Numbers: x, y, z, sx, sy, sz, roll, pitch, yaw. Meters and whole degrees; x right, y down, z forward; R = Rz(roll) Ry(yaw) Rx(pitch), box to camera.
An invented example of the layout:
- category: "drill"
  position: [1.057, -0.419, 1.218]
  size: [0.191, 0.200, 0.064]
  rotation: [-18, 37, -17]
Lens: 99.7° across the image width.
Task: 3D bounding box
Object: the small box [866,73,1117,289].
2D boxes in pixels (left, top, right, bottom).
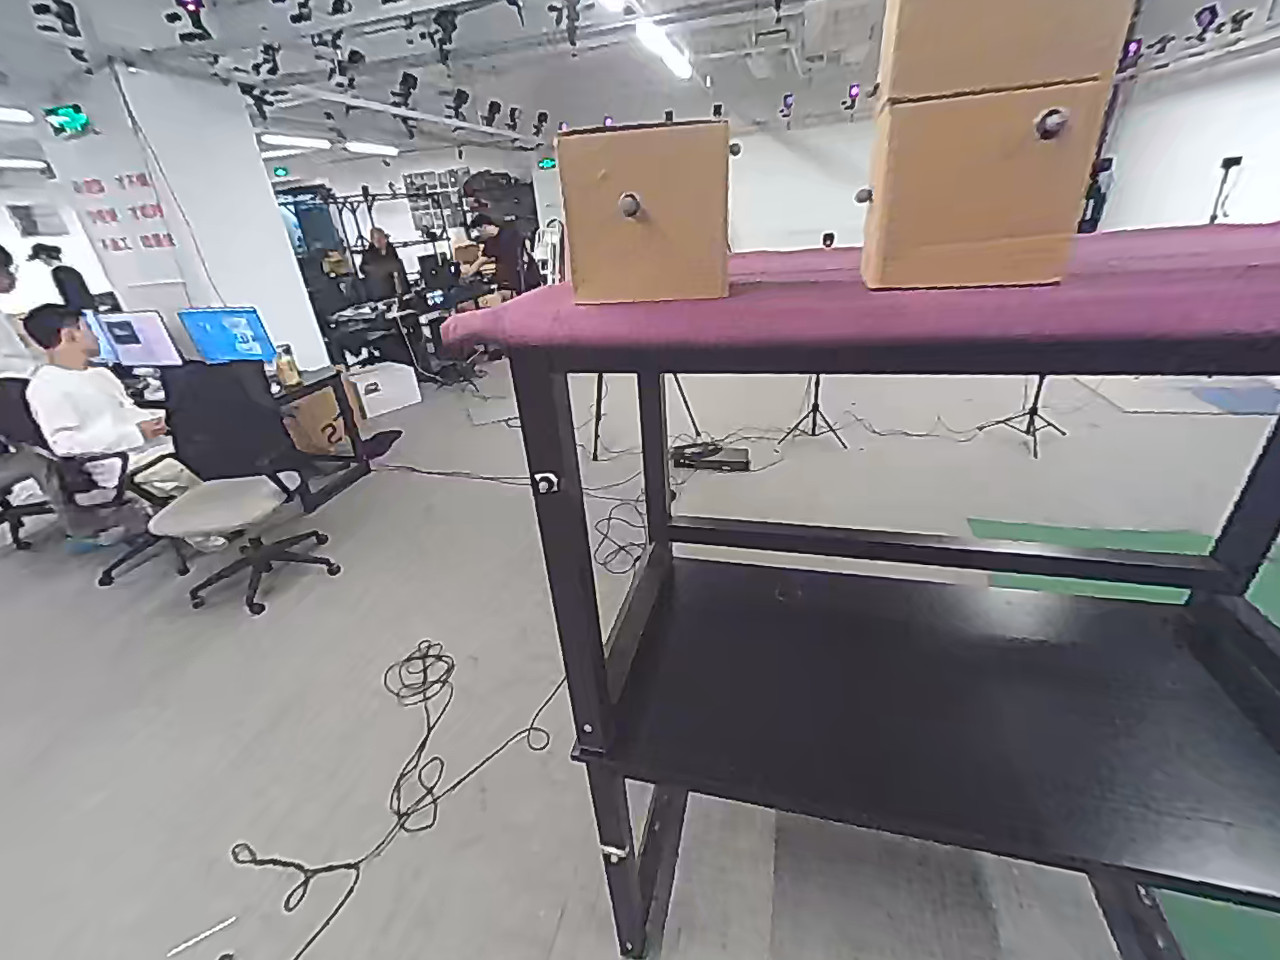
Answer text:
- category: "small box"
  position: [0.341, -0.298, 0.570]
  size: [0.179, 0.176, 0.168]
  rotation: [5, 27, 16]

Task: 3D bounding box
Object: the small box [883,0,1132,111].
- category: "small box"
  position: [0.332, -0.448, 0.503]
  size: [0.179, 0.176, 0.168]
  rotation: [5, 27, 16]

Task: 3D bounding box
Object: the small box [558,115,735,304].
- category: "small box"
  position: [0.019, -0.306, 0.630]
  size: [0.179, 0.176, 0.168]
  rotation: [-1, 28, 7]
